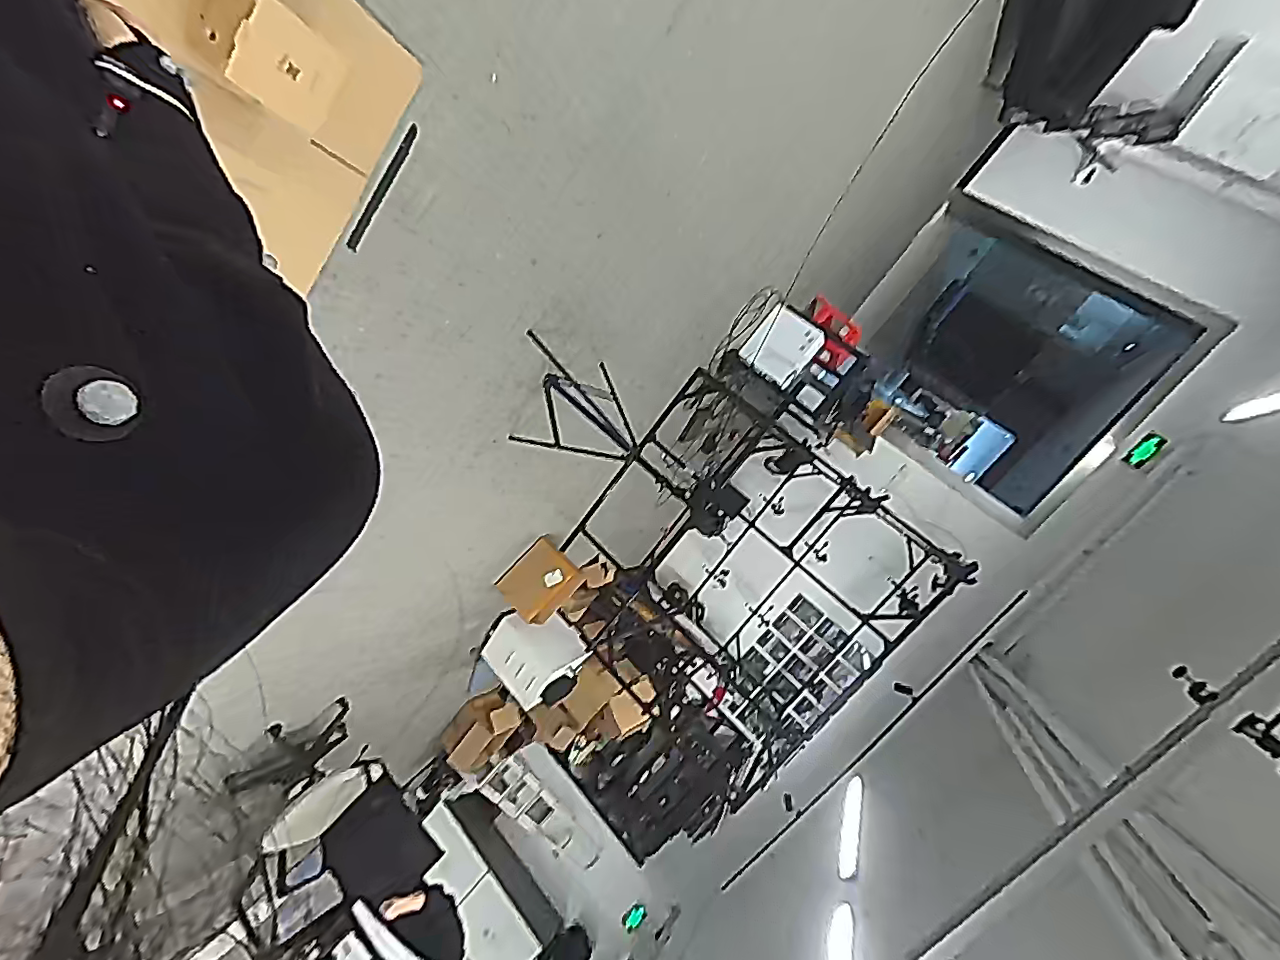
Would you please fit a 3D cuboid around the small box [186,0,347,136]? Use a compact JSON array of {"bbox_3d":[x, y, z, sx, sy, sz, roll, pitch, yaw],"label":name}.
[{"bbox_3d":[-0.719,-0.820,1.040,0.168,0.176,0.179,-51,160,12],"label":"small box"}]
